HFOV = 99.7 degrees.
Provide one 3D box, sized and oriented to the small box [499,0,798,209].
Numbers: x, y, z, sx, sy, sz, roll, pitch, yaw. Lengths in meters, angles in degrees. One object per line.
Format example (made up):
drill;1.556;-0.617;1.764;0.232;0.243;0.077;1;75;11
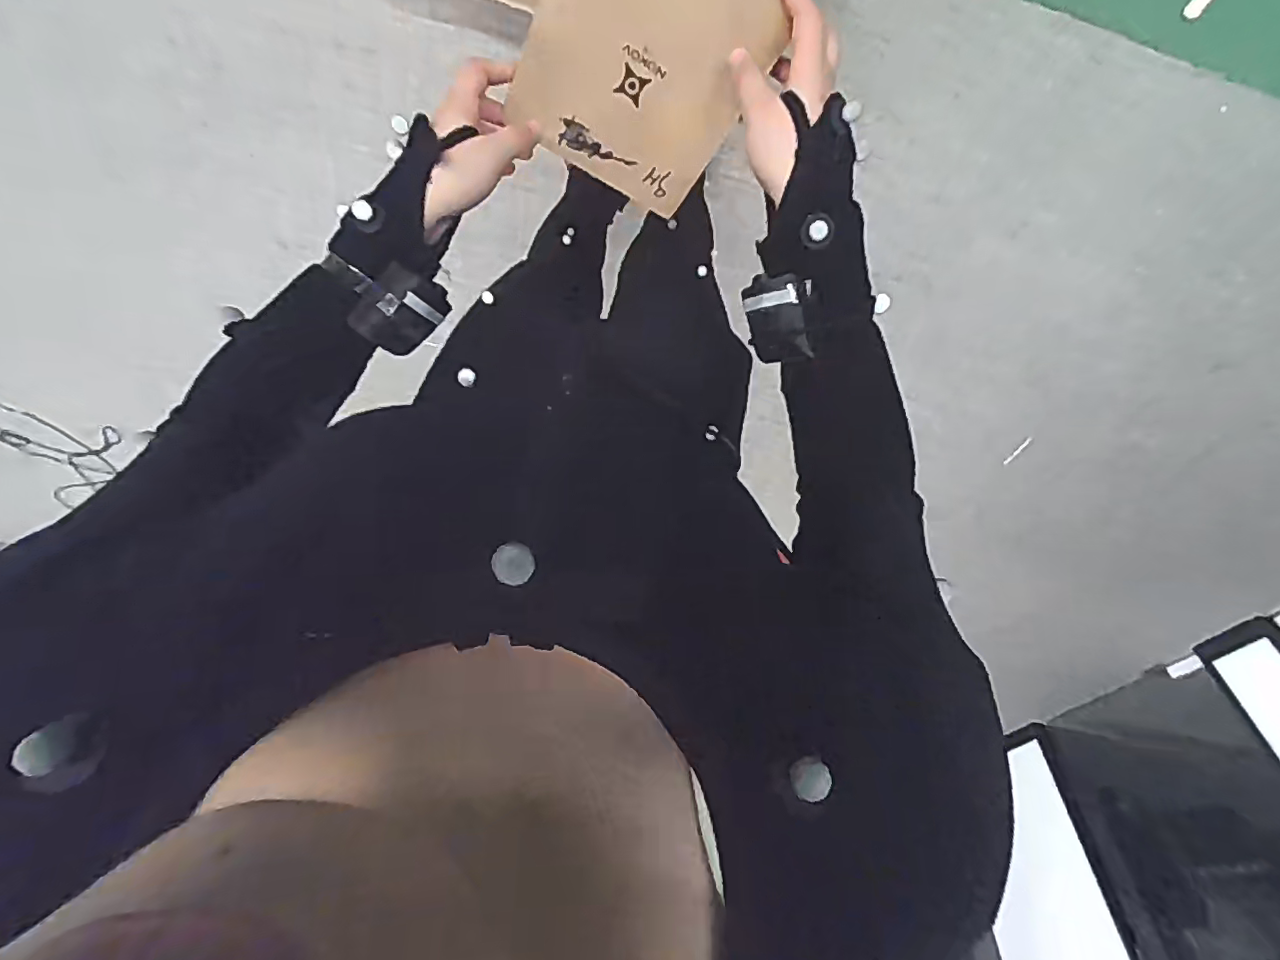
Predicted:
small box;0.001;-0.379;0.444;0.168;0.176;0.179;19;145;-23
